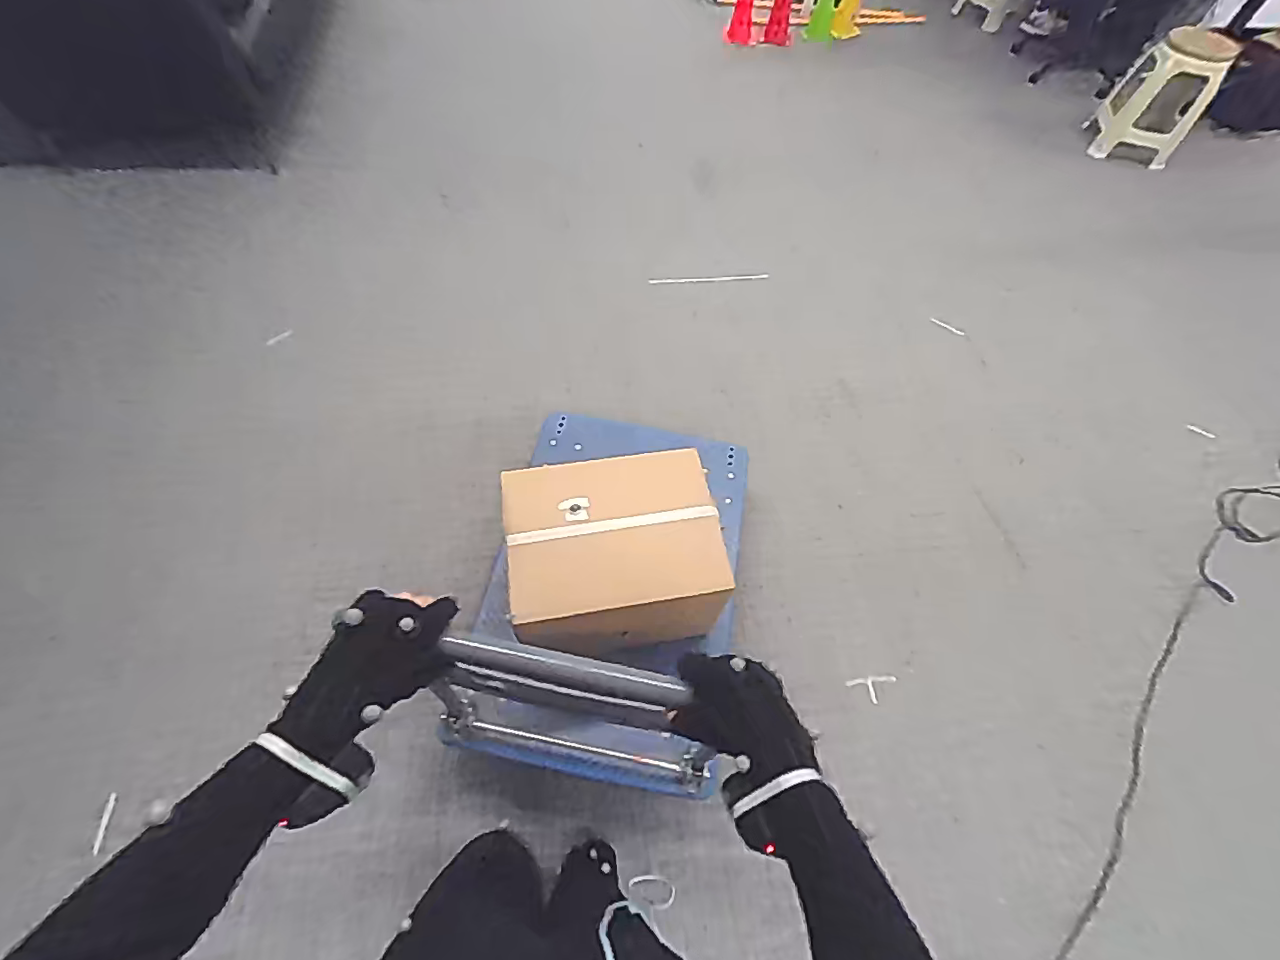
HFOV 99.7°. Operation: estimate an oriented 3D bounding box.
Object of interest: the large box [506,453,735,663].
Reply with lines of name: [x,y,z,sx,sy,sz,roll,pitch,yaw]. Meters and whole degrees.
large box: [-0.050,0.176,1.169,0.408,0.320,0.320,-9,59,-7]
